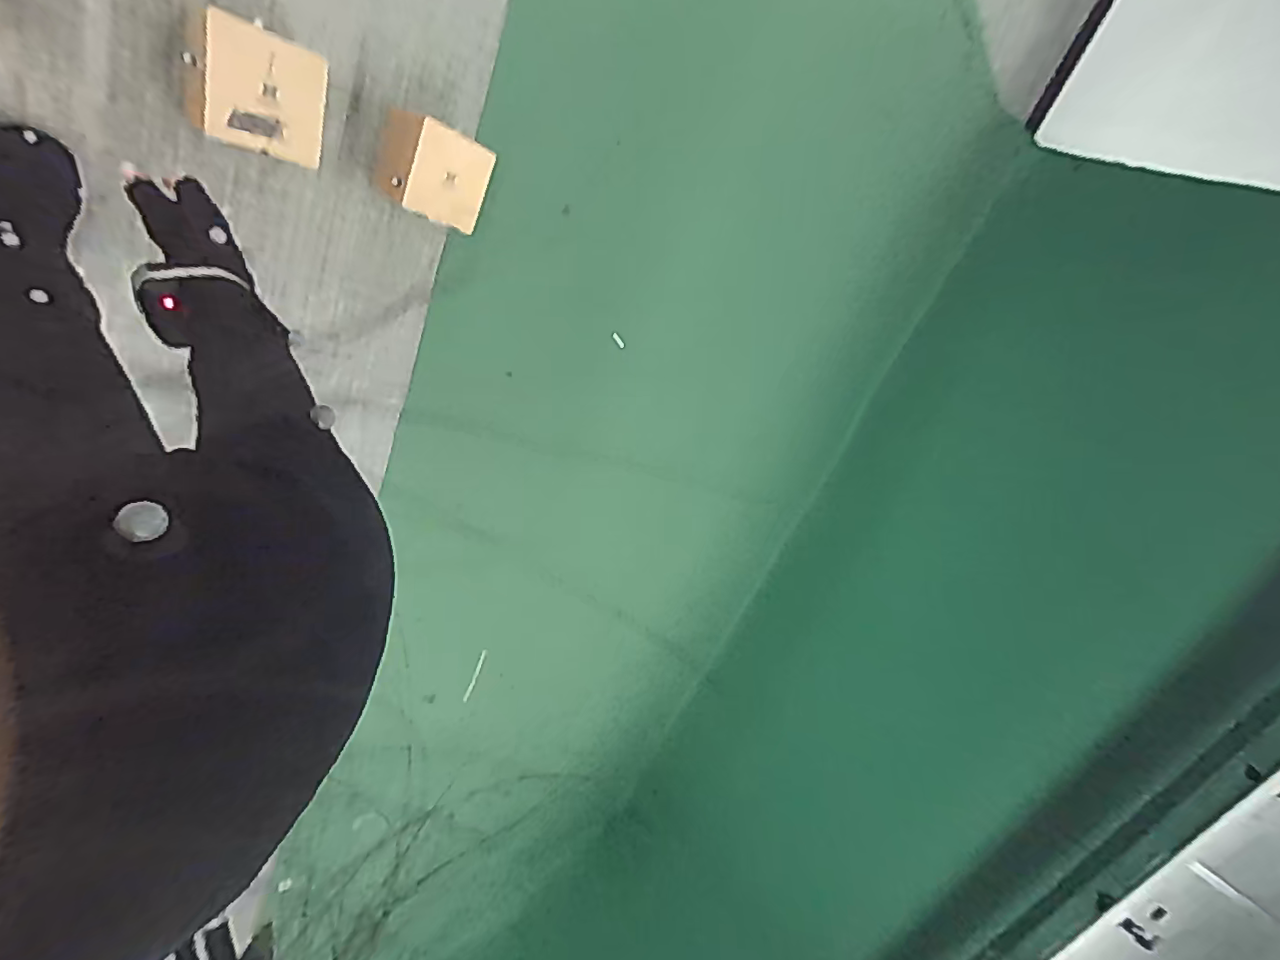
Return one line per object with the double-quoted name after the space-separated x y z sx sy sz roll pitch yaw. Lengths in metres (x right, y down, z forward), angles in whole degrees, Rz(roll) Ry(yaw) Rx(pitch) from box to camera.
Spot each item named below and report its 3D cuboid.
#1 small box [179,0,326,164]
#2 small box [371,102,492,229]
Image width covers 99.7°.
-0.662 -0.677 0.921 0.168 0.176 0.179 -6 126 -48 "small box"
-0.455 -0.680 1.170 0.168 0.176 0.179 1 122 -50 "small box"
